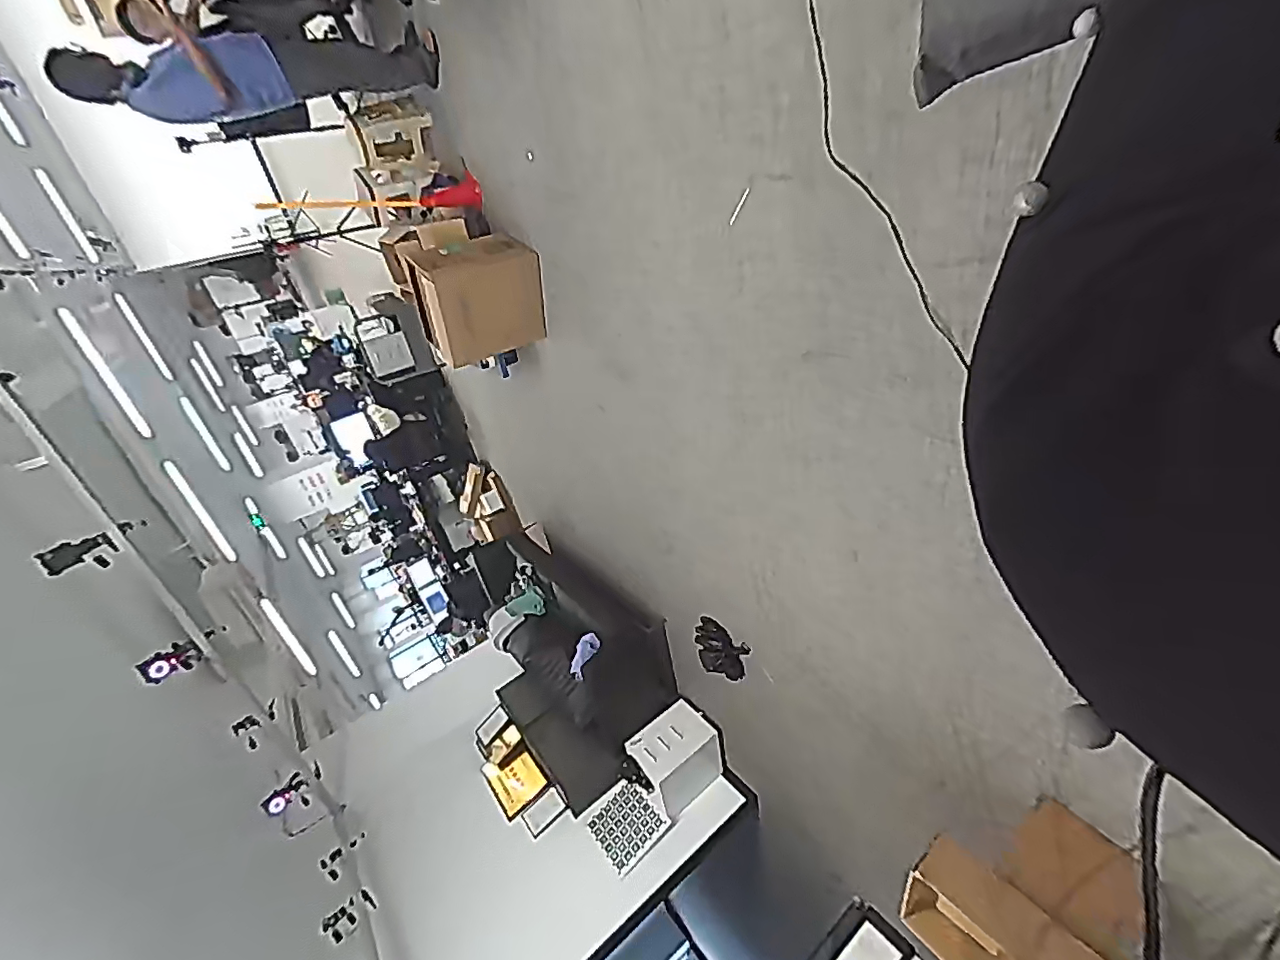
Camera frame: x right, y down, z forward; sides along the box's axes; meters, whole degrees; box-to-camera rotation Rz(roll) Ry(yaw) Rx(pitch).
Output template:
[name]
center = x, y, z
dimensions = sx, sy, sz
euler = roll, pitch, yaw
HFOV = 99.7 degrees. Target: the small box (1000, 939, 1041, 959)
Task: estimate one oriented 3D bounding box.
[small box]
center = 1.149, 1.528, 1.606
dimensions = 0.168, 0.176, 0.179
euler = 31, 142, 48
